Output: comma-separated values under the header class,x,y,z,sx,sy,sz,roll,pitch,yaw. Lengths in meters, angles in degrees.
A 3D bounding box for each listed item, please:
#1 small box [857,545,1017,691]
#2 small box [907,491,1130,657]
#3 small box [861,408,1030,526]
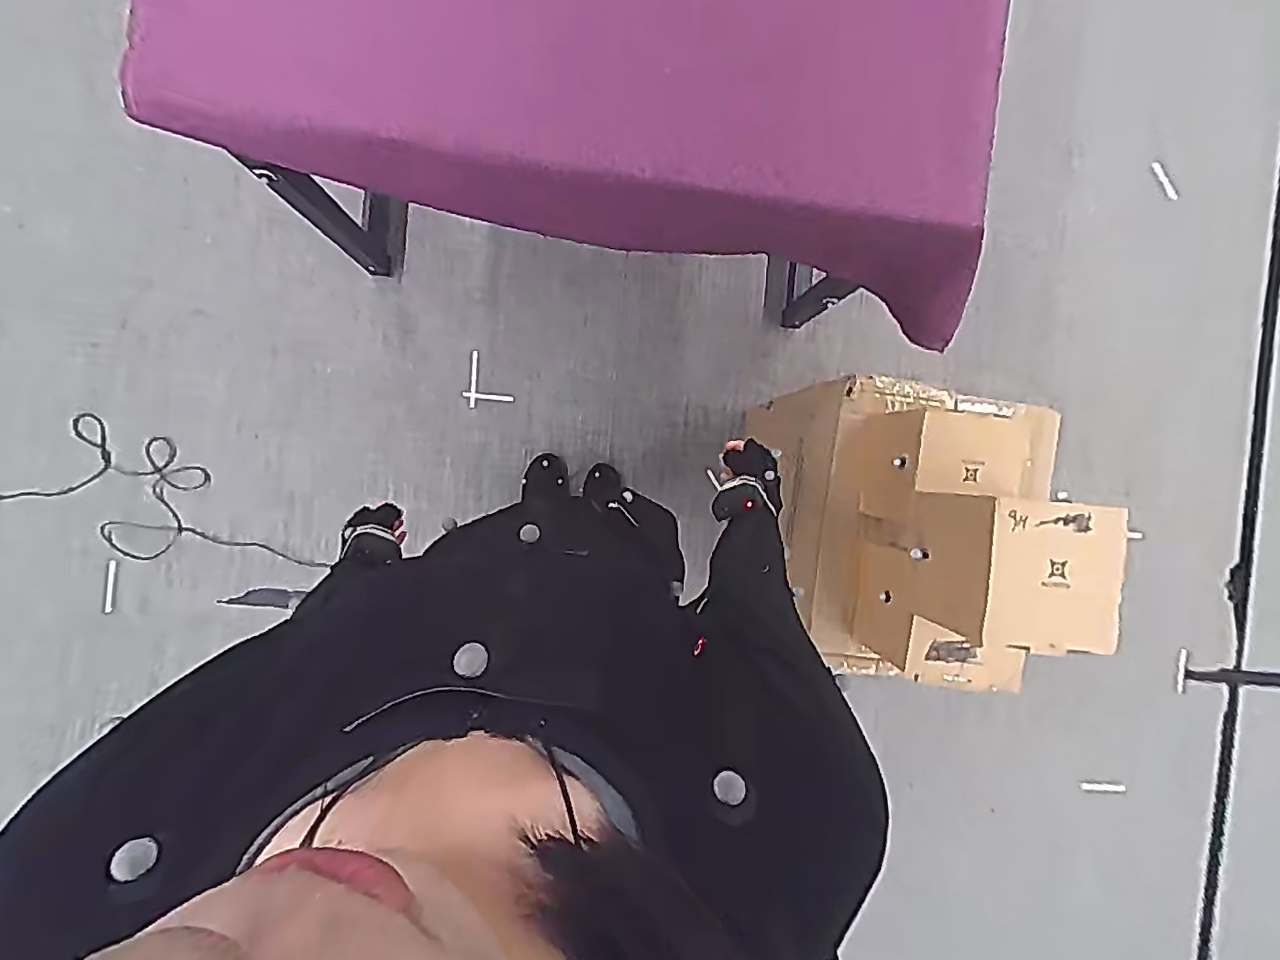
class,x,y,z,sx,sy,sz,roll,pitch,yaw
small box,0.470,0.210,0.866,0.168,0.176,0.179,10,89,-4
small box,0.472,0.111,0.702,0.168,0.176,0.179,5,90,-4
small box,0.474,-0.012,0.864,0.168,0.176,0.179,6,92,-4
